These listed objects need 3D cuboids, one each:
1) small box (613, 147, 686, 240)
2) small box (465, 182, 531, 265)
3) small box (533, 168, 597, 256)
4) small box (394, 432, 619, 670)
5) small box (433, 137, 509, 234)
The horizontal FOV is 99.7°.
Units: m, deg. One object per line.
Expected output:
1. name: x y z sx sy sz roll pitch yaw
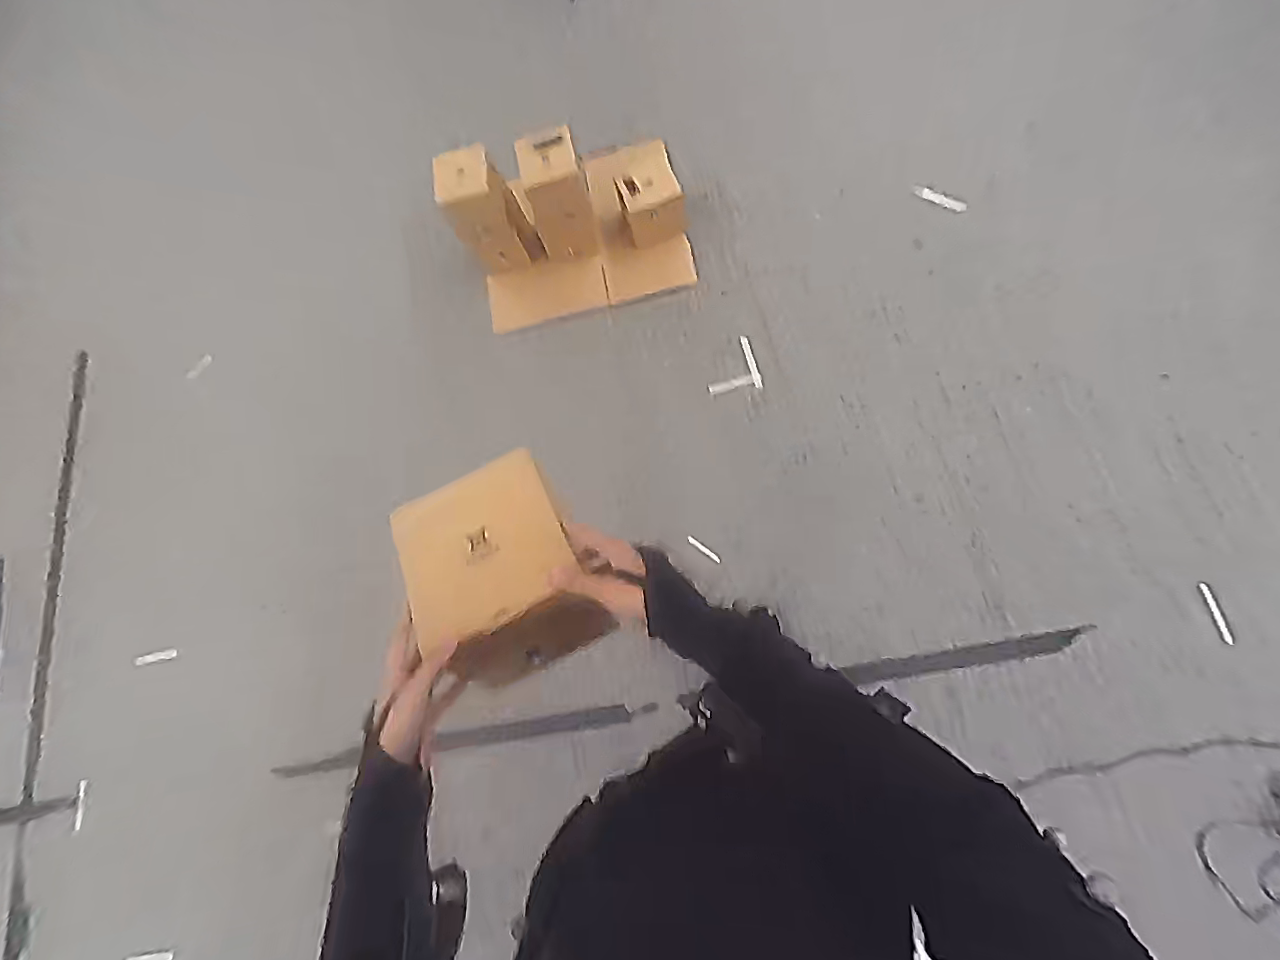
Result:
1. small box: 0.034 -0.899 1.714 0.179 0.176 0.168 -21 73 4
2. small box: -0.467 -0.835 1.783 0.168 0.176 0.179 -10 75 7
3. small box: -0.240 -0.864 1.752 0.168 0.176 0.179 -9 74 7
4. small box: -0.140 0.085 0.601 0.168 0.176 0.179 -26 59 -4
5. small box: -0.505 -0.880 1.628 0.168 0.176 0.179 -10 74 8
